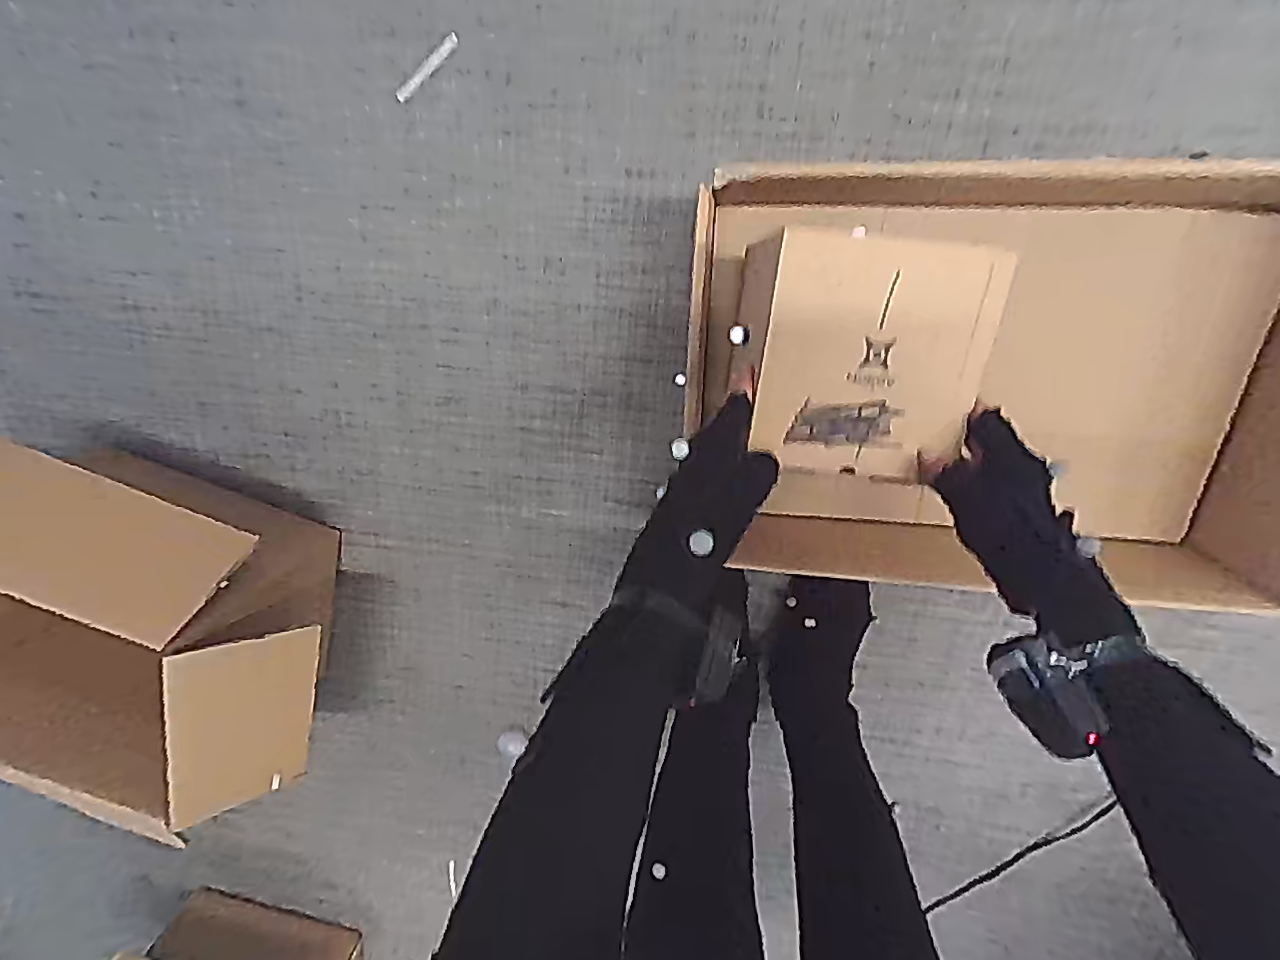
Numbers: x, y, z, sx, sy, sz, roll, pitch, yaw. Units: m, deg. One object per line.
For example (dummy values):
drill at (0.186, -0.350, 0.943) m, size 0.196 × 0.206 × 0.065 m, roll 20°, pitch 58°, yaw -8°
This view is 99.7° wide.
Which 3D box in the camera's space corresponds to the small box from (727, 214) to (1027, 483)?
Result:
small box at (0.175, -0.114, 0.468) m, size 0.168 × 0.176 × 0.179 m, roll 7°, pitch 108°, yaw -1°
